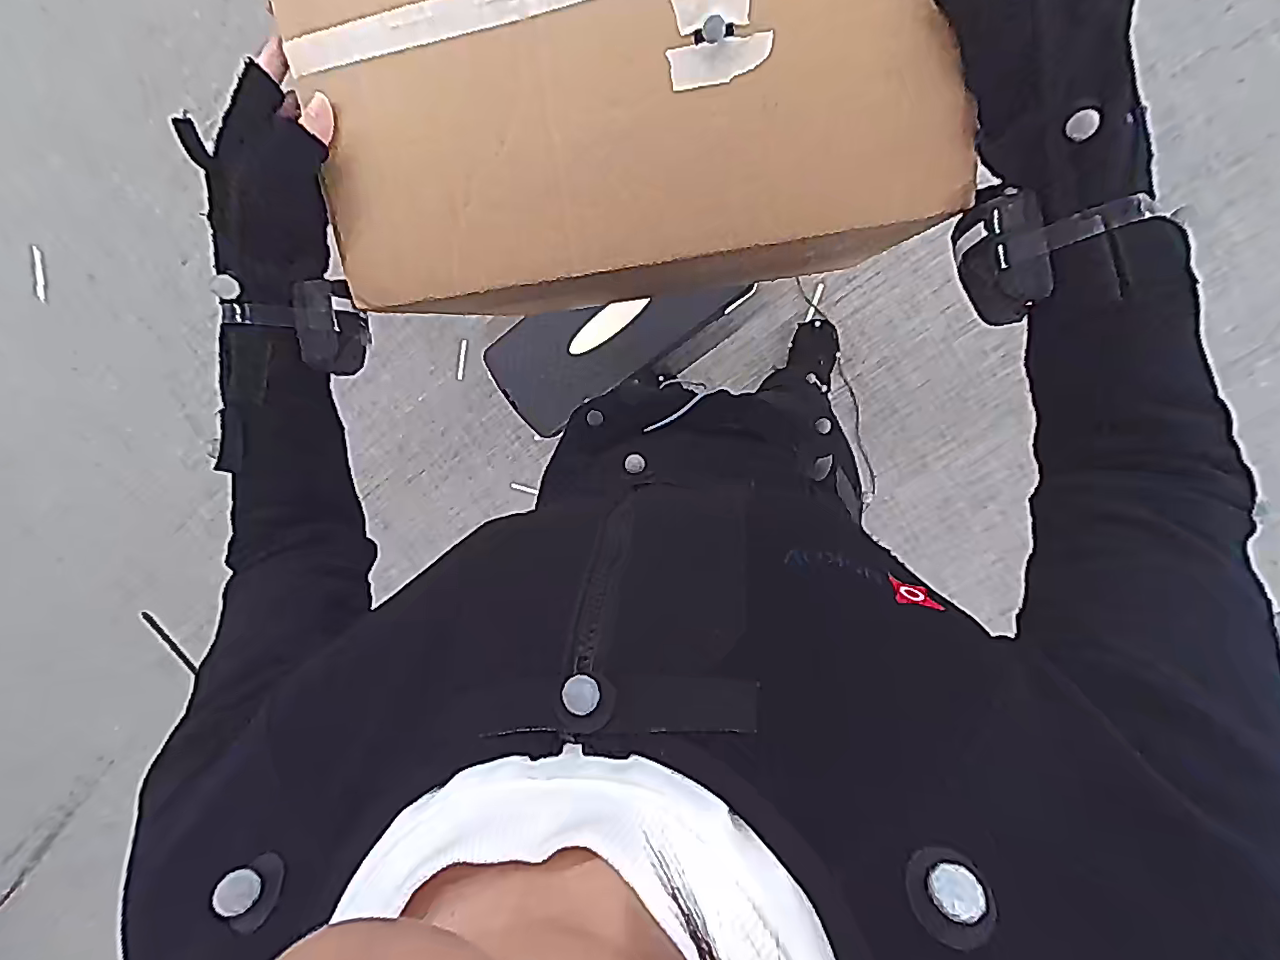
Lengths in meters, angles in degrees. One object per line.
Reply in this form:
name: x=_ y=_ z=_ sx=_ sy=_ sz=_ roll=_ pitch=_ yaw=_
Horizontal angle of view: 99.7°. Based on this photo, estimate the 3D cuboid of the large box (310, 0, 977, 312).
large box: x=0.005 y=-0.337 z=0.463 sx=0.408 sy=0.320 sz=0.320 roll=-5 pitch=105 yaw=10
